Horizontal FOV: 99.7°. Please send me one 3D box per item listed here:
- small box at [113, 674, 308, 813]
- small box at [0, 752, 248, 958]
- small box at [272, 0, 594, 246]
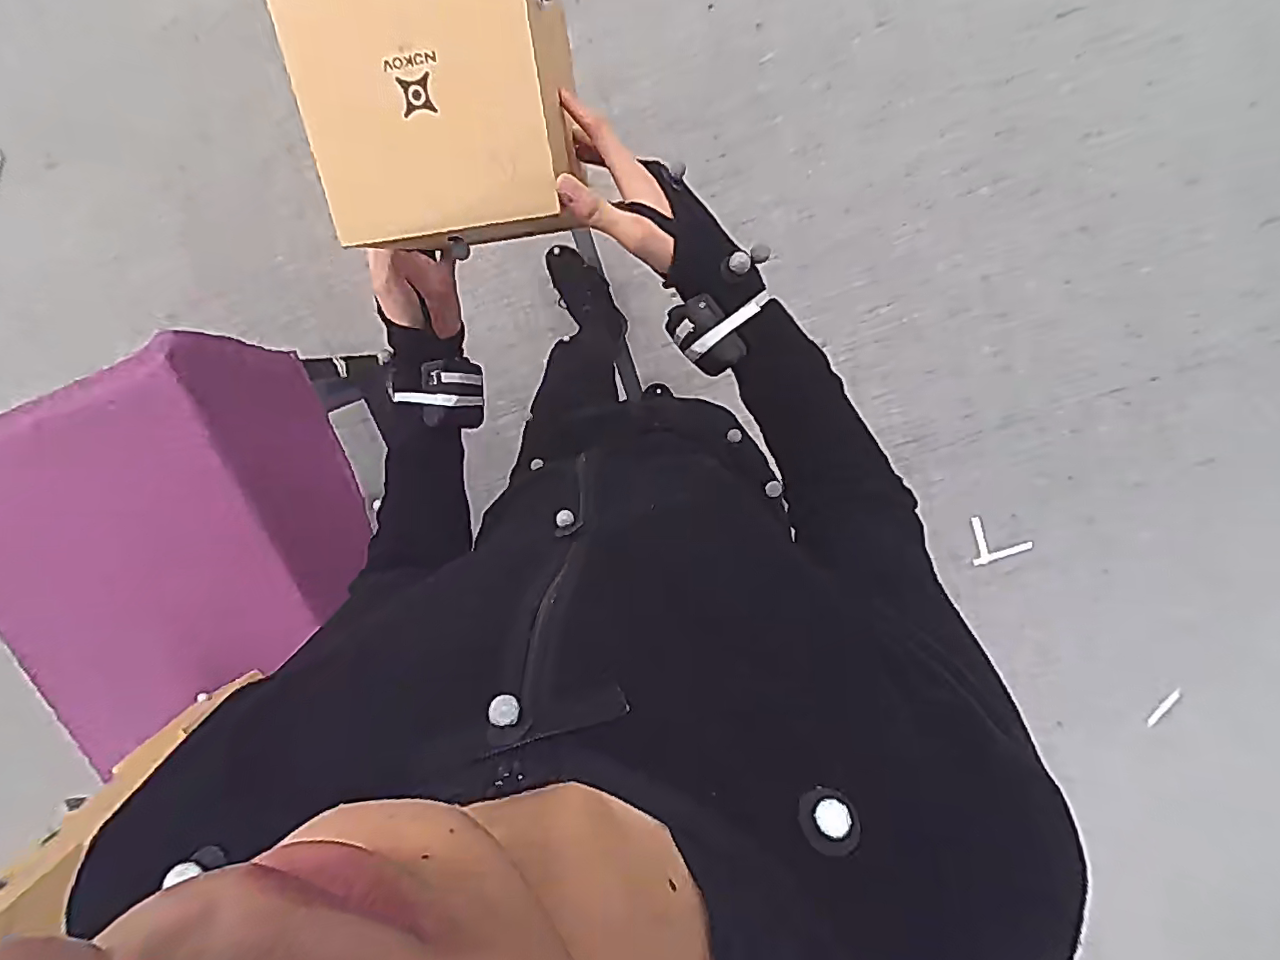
[{"bbox_3d":[-0.746,0.486,0.964,0.168,0.176,0.179,-29,101,10],"label":"small box"},{"bbox_3d":[-0.753,0.551,0.811,0.179,0.176,0.168,-23,103,9],"label":"small box"},{"bbox_3d":[-0.137,-0.286,0.424,0.168,0.176,0.179,-5,110,6],"label":"small box"}]
